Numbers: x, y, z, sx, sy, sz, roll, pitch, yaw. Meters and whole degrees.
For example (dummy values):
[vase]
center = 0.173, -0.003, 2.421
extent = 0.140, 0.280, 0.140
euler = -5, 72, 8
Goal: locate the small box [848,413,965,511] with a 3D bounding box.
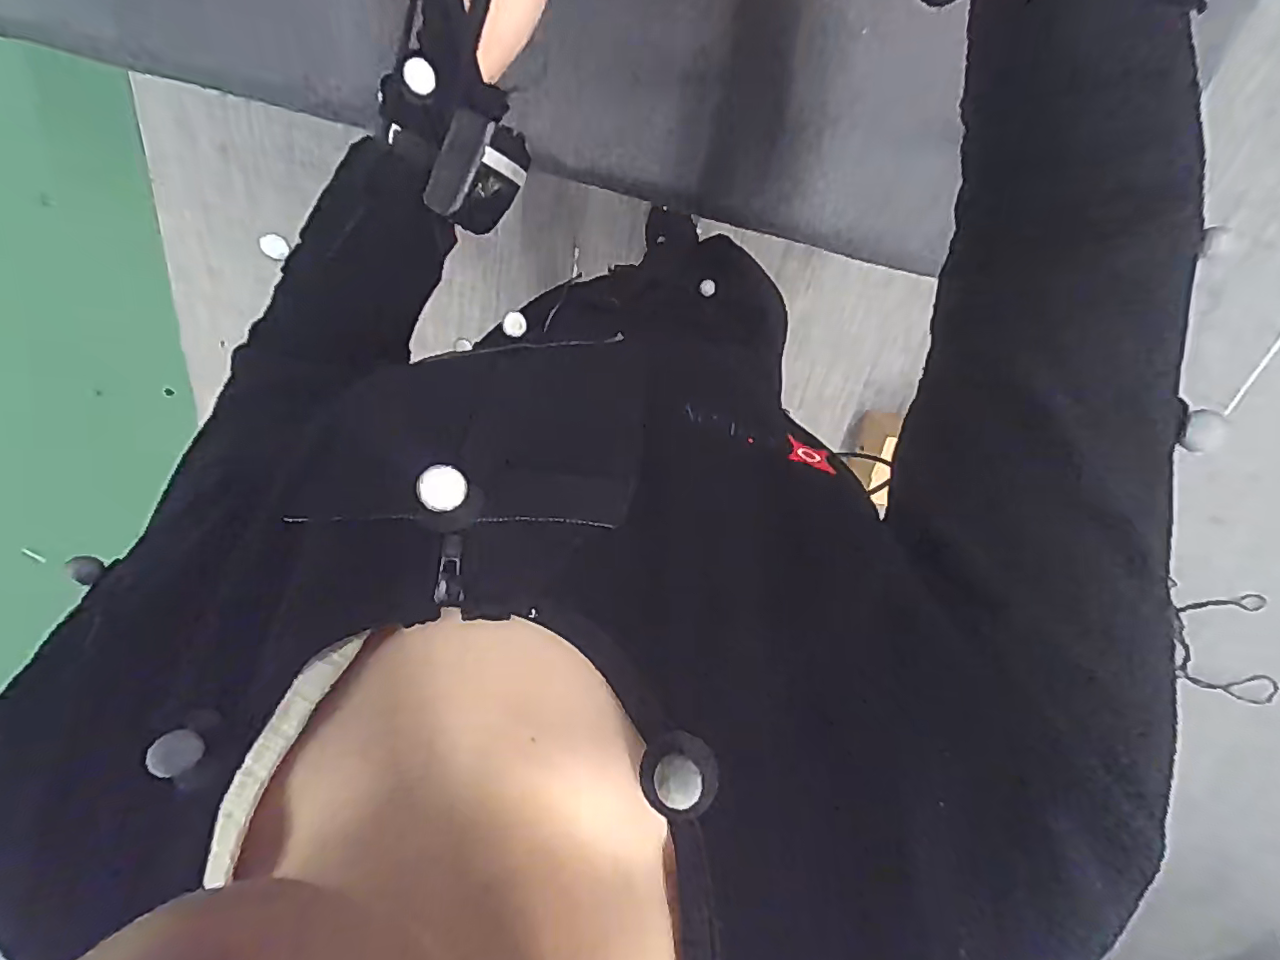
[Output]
[small box]
center = 0.615, -0.048, 1.275
extent = 0.179, 0.176, 0.168
euler = 8, 117, 2
